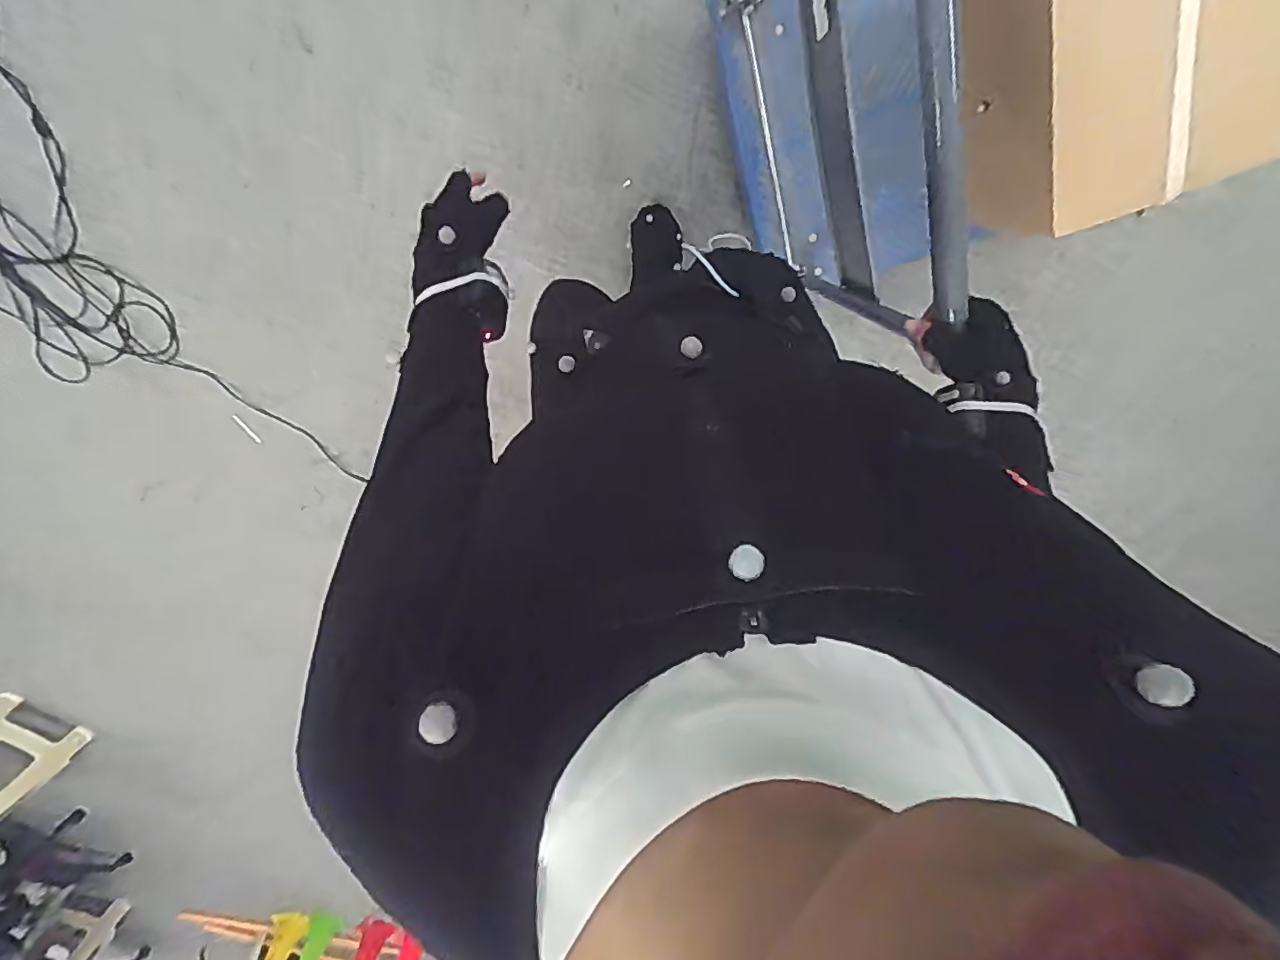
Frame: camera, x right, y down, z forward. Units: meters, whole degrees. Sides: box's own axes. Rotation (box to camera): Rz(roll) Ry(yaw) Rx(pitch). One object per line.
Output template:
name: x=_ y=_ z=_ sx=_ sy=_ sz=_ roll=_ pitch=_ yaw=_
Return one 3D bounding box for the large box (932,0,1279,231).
large box: x=0.704 y=-0.661 z=0.855 sx=0.320 sy=0.320 sz=0.408 roll=-18 pitch=116 yaw=10
